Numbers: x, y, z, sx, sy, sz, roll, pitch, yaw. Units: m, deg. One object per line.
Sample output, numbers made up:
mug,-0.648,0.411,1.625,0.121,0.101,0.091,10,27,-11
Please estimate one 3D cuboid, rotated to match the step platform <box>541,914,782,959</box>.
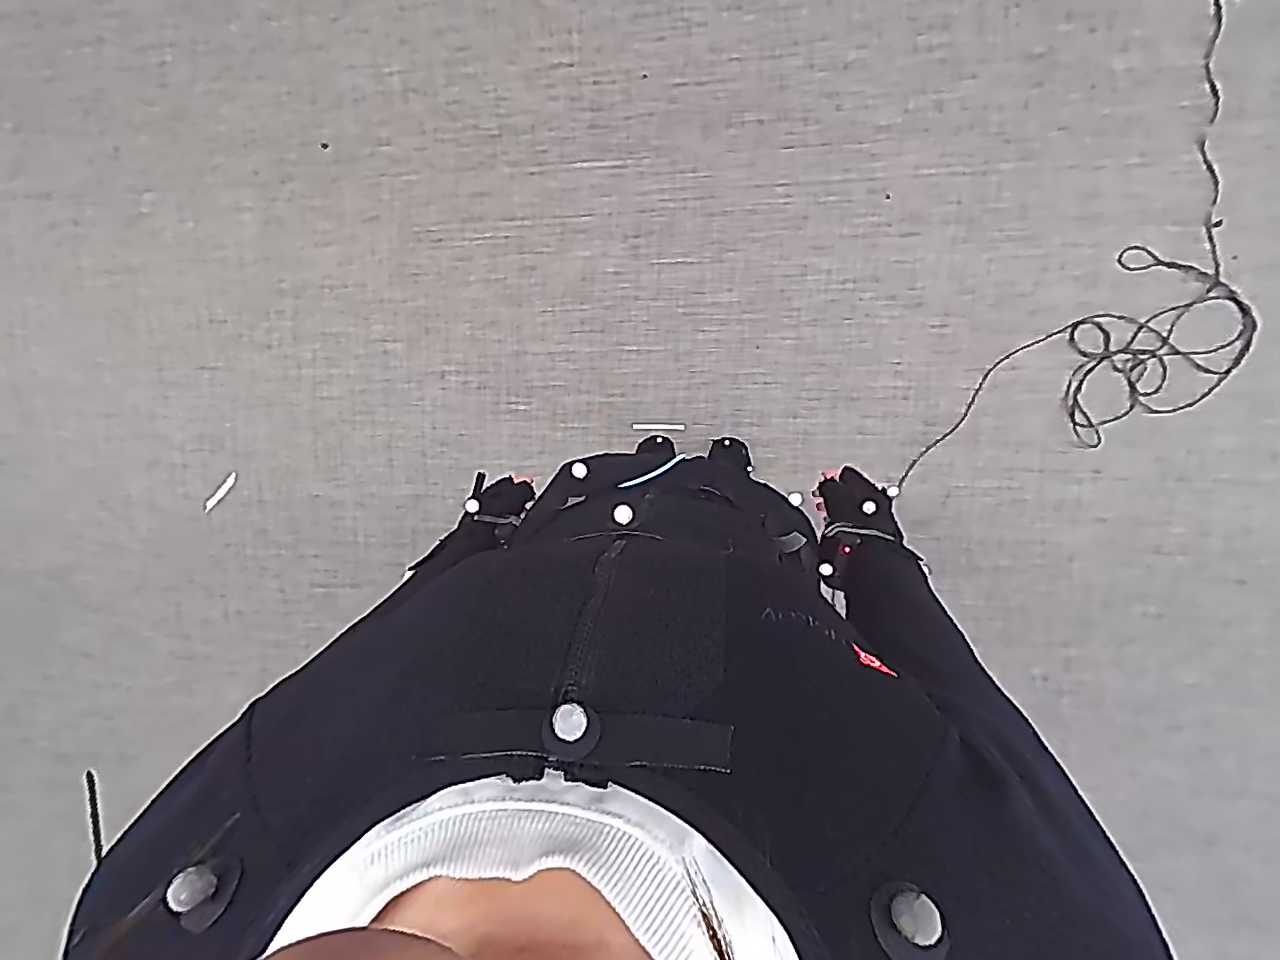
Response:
step platform,0.054,1.431,1.482,0.684,0.204,0.286,0,95,8
